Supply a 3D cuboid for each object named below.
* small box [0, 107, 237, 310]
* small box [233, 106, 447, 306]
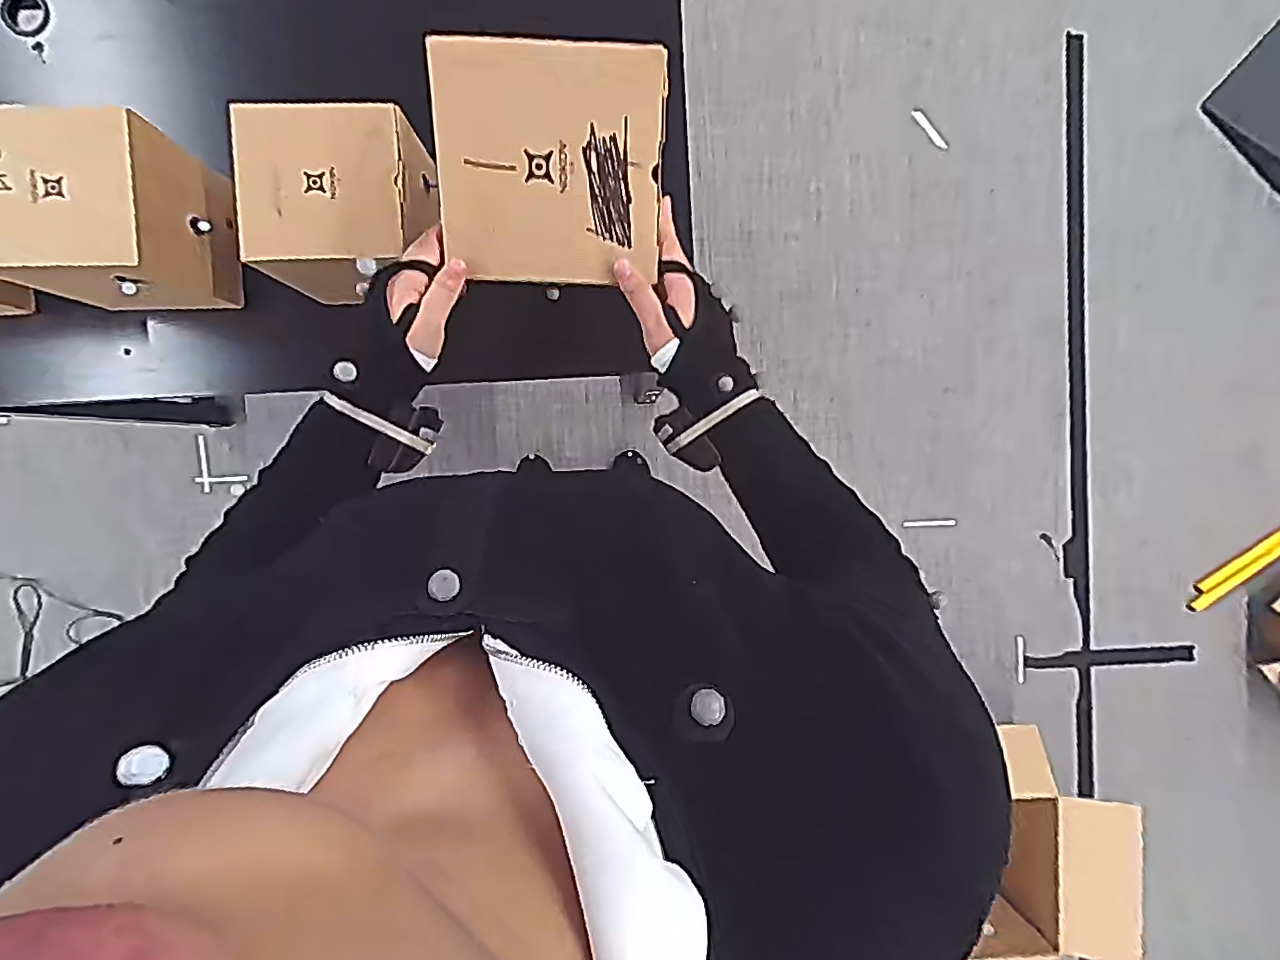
[{"bbox_3d":[-0.618,-0.307,0.644,0.179,0.176,0.168,-2,92,-2],"label":"small box"},{"bbox_3d":[-0.345,-0.319,0.659,0.179,0.176,0.168,-3,92,-2],"label":"small box"}]
